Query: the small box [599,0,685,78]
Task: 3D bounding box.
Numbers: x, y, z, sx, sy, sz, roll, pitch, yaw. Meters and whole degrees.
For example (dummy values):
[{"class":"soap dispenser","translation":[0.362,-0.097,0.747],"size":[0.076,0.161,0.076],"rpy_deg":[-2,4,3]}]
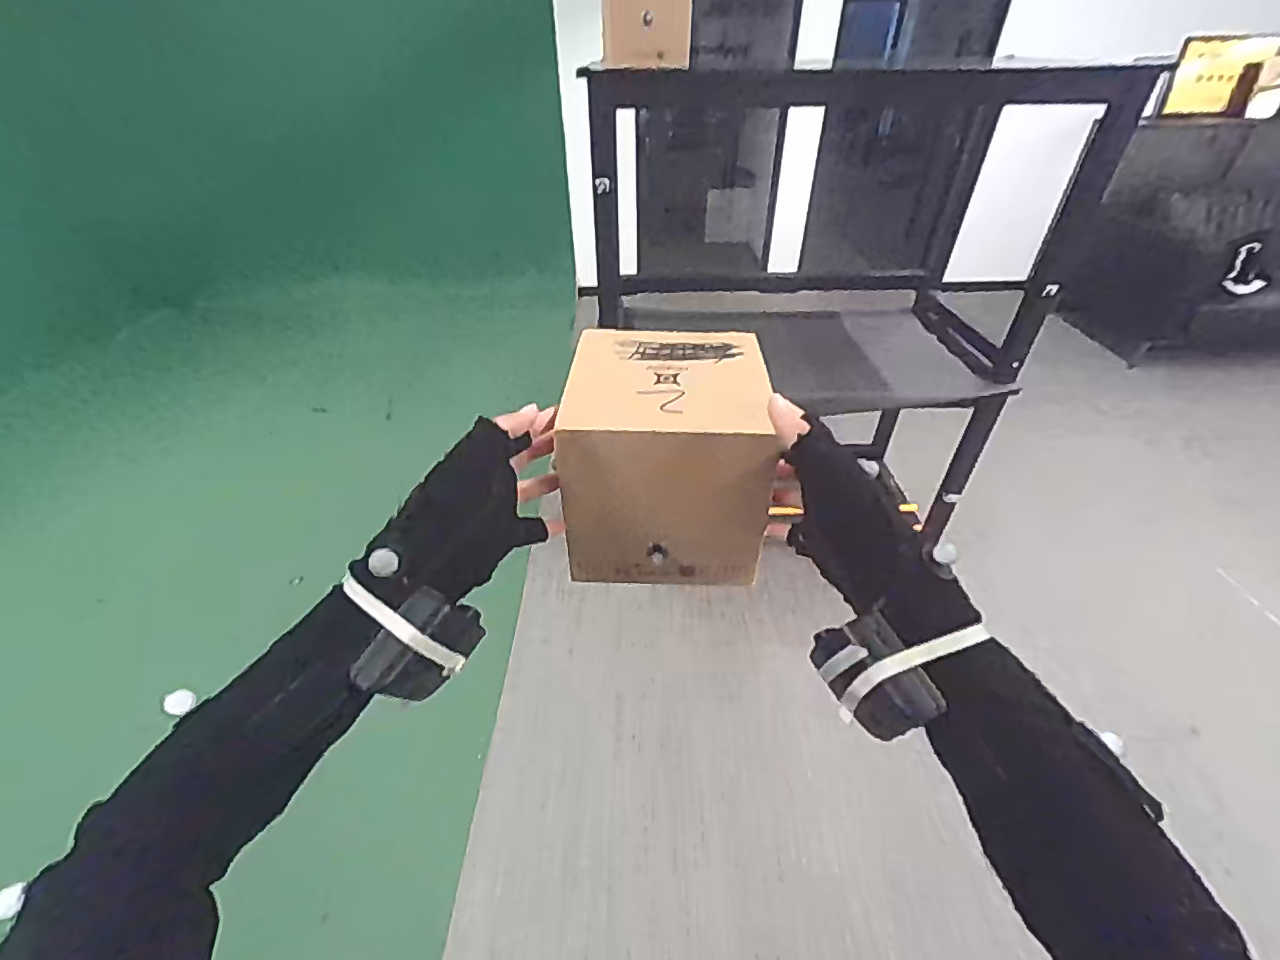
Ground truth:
[{"class":"small box","translation":[0.002,-0.972,1.159],"size":[0.168,0.176,0.179],"rpy_deg":[-5,38,-6]}]
